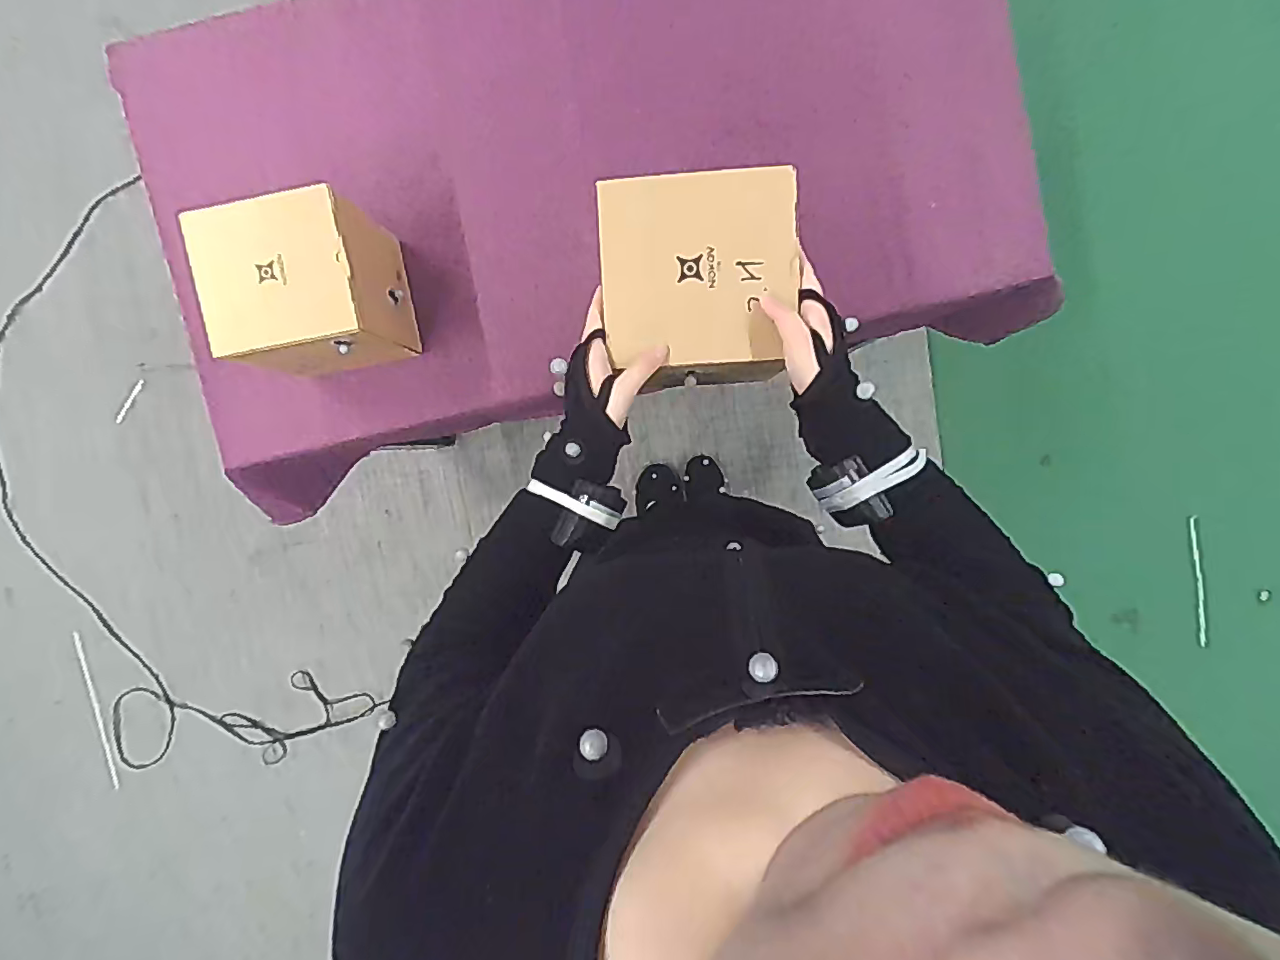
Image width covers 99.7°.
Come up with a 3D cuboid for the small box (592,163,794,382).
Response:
[{"bbox_3d":[0.052,-0.194,0.555,0.179,0.176,0.168,-2,94,4],"label":"small box"}]

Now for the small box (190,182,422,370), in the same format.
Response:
[{"bbox_3d":[-0.412,-0.246,0.695,0.179,0.176,0.168,-11,93,2],"label":"small box"}]
